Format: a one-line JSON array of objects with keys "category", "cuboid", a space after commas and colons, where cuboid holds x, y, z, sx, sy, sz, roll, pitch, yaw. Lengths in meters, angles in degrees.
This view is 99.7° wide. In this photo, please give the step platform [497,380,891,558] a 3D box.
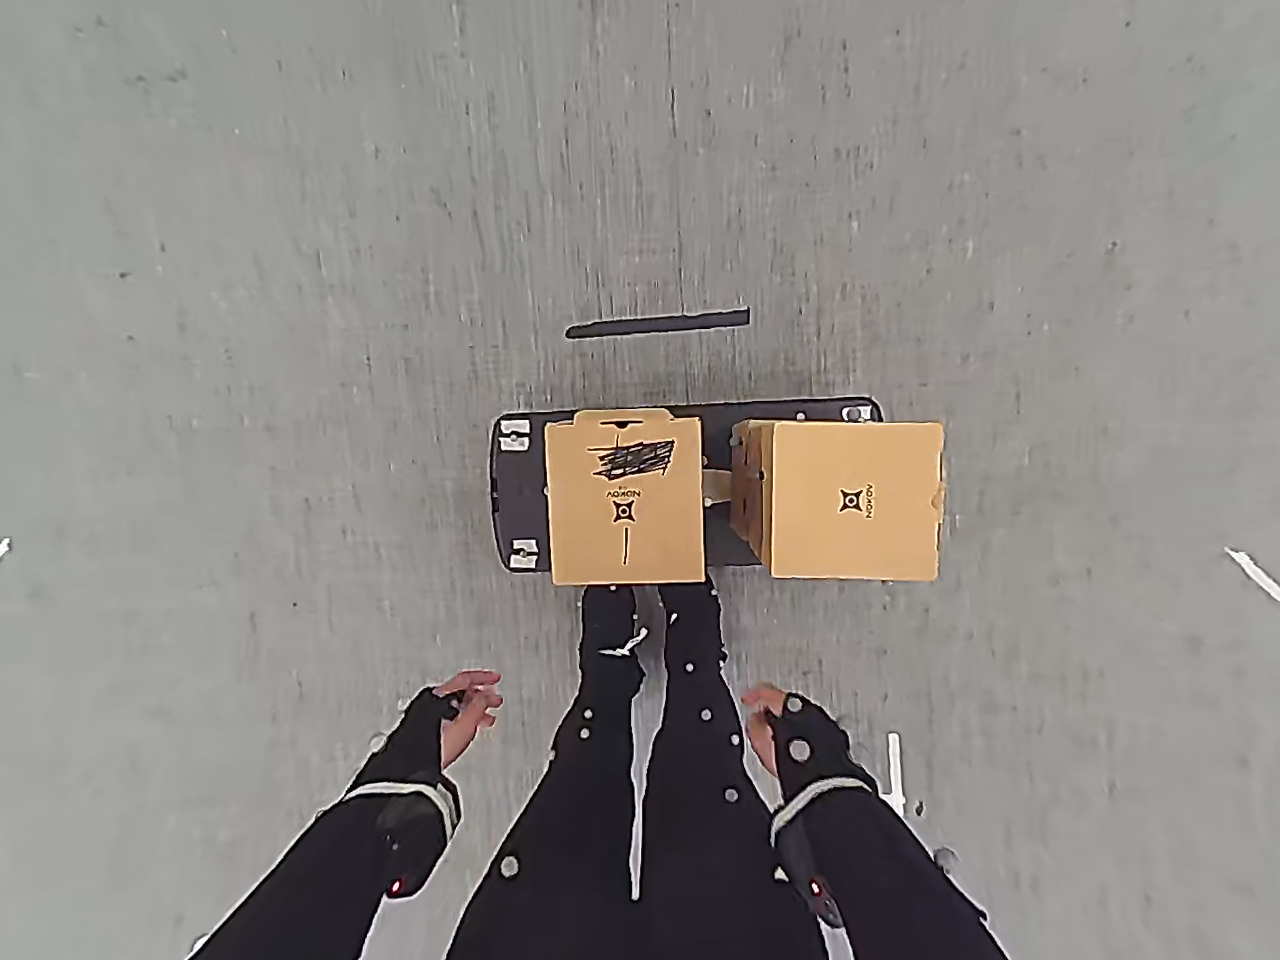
[{"category": "step platform", "cuboid": [0.093, -0.018, 0.983, 0.684, 0.204, 0.286, -3, 93, 4]}]

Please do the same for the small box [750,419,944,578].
[{"category": "small box", "cuboid": [0.228, 0.016, 0.641, 0.179, 0.176, 0.168, 0, 93, 2]}]

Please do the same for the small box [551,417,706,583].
[{"category": "small box", "cuboid": [-0.009, 0.019, 0.652, 0.168, 0.176, 0.179, -2, 93, 3]}]
